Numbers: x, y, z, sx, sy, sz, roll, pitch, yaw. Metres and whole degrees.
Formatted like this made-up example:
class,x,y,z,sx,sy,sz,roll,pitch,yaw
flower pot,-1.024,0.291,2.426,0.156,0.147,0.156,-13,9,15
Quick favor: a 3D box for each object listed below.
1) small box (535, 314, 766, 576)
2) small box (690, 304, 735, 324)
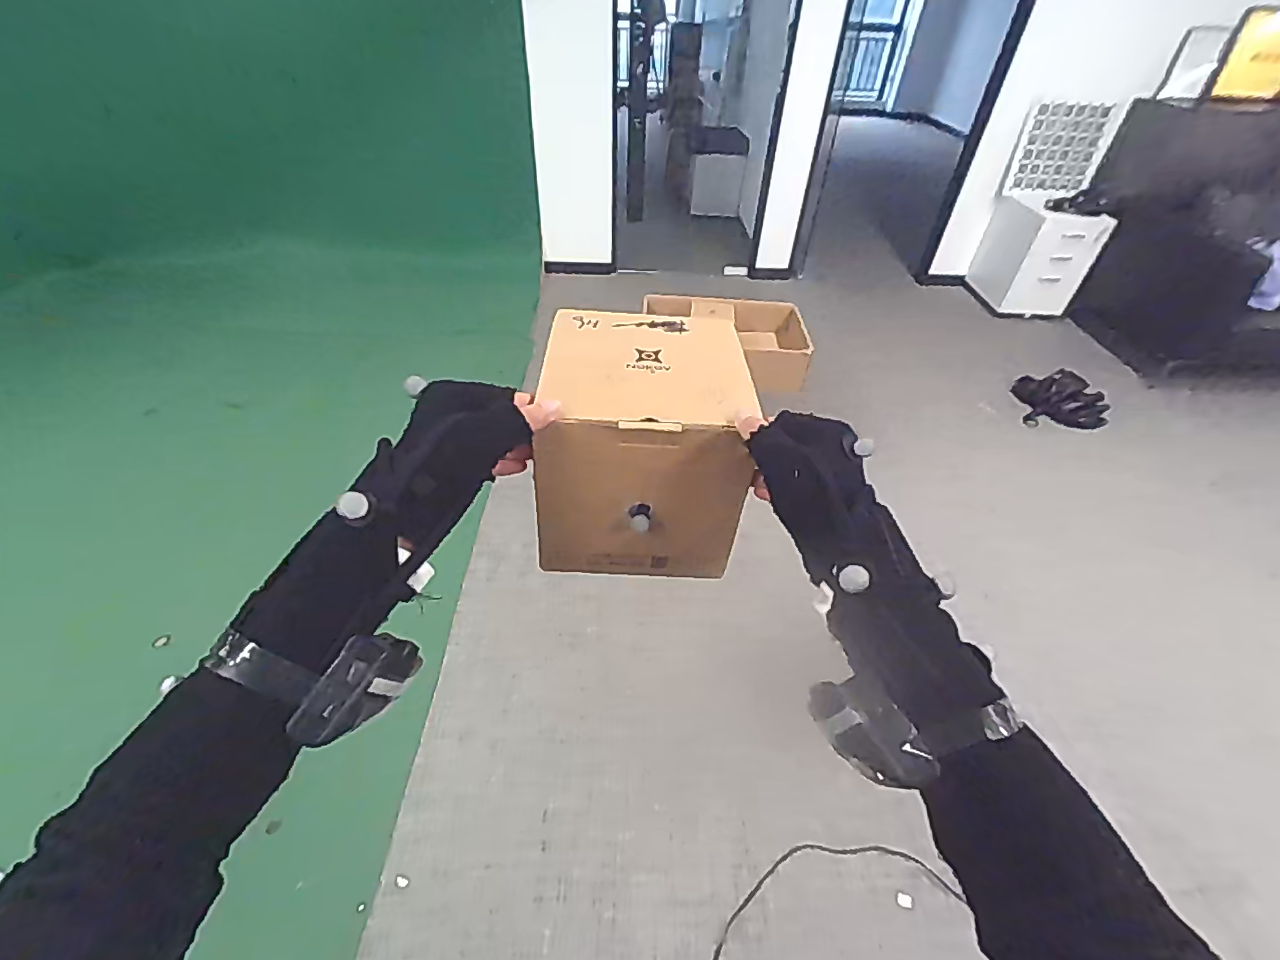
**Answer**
class,x,y,z,sx,sy,sz,roll,pitch,yaw
small box,0.004,-0.030,0.490,0.168,0.176,0.179,3,42,-3
small box,0.271,-0.560,2.093,0.168,0.176,0.179,7,40,1
